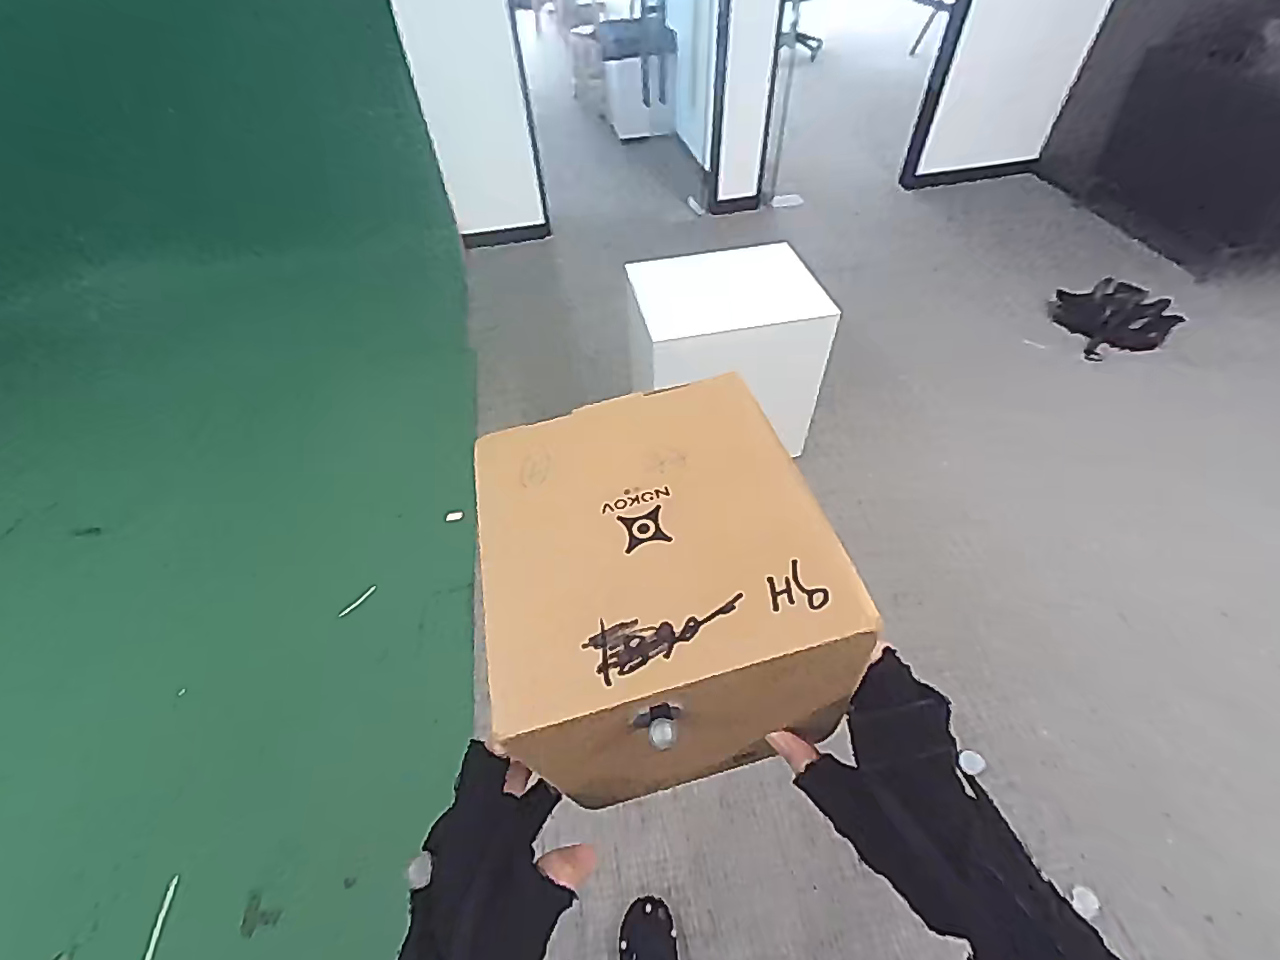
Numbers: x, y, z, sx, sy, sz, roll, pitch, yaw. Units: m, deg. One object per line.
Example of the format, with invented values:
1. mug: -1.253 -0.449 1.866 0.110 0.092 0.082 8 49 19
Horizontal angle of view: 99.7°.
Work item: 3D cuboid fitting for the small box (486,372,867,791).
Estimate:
1. small box: 0.012 0.066 0.340 0.168 0.176 0.179 -16 49 -1
